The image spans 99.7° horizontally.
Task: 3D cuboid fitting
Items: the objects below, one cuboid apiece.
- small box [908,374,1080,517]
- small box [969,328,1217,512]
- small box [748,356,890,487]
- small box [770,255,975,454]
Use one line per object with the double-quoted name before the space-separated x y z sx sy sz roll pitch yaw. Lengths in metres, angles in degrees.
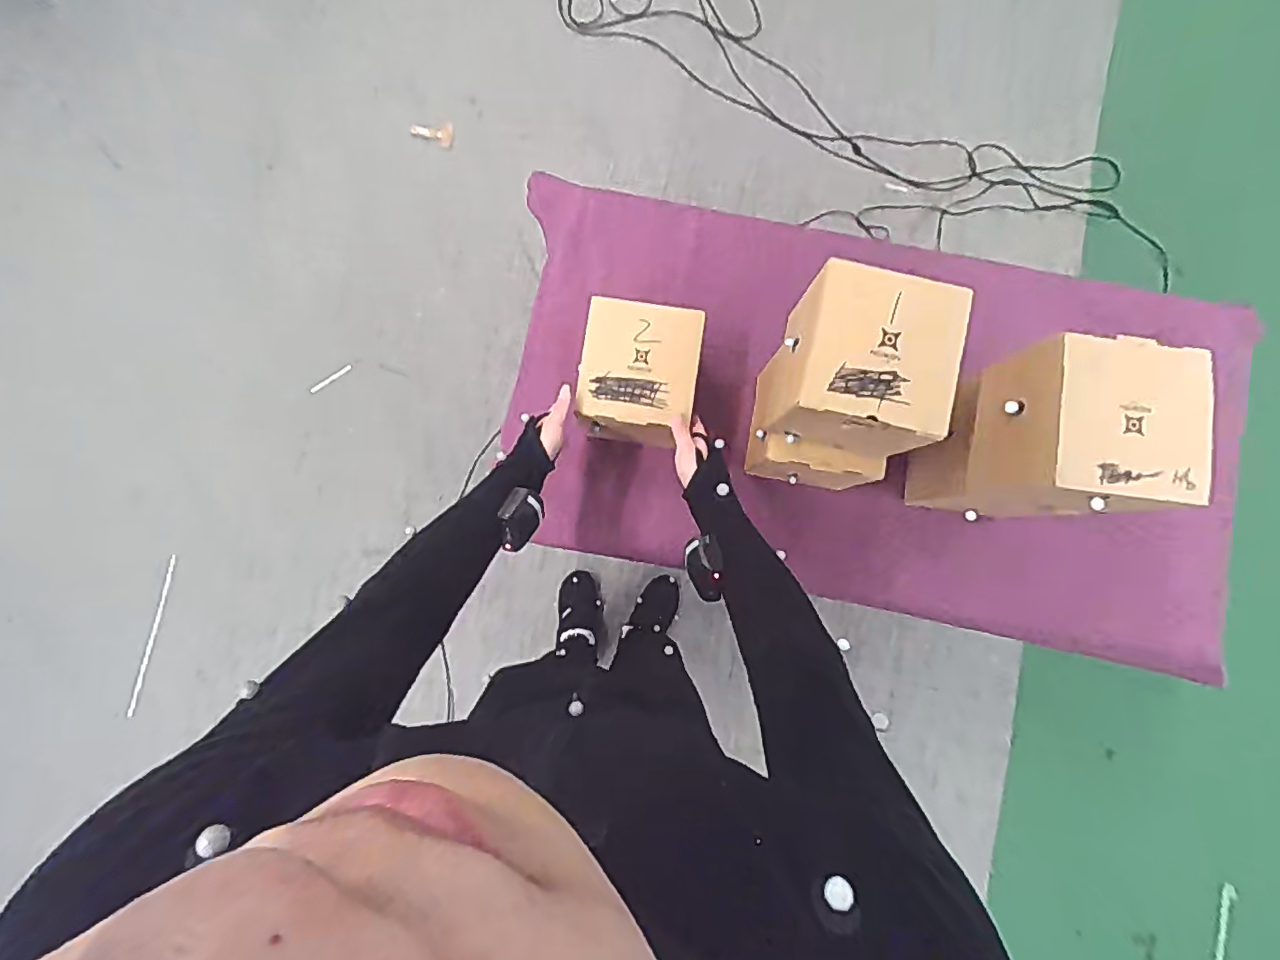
"small box" 0.531 -0.044 0.820 0.168 0.176 0.179 8 84 1
"small box" 0.531 -0.061 0.657 0.168 0.176 0.179 7 84 1
"small box" 0.270 -0.092 0.827 0.168 0.176 0.179 9 85 1
"small box" 0.269 -0.140 0.667 0.168 0.176 0.179 14 84 1
